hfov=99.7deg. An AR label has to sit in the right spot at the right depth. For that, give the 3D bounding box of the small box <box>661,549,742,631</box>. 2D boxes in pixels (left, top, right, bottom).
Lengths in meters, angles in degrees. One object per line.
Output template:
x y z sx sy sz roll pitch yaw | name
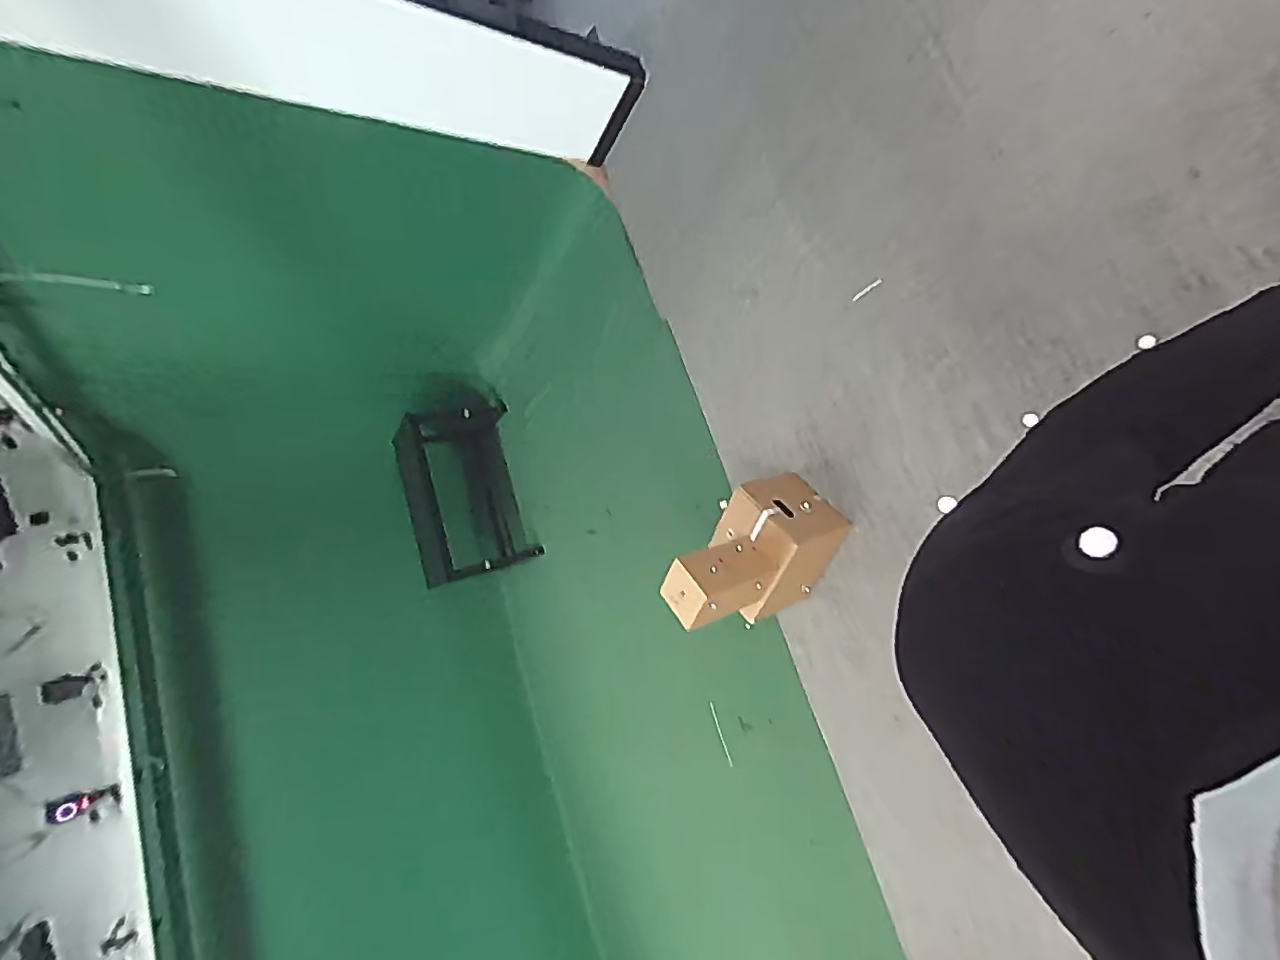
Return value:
0.200 0.346 1.730 0.168 0.176 0.179 51 136 35 | small box

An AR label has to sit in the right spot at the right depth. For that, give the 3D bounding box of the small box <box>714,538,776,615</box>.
0.331 0.320 1.825 0.168 0.176 0.179 49 135 35 | small box
